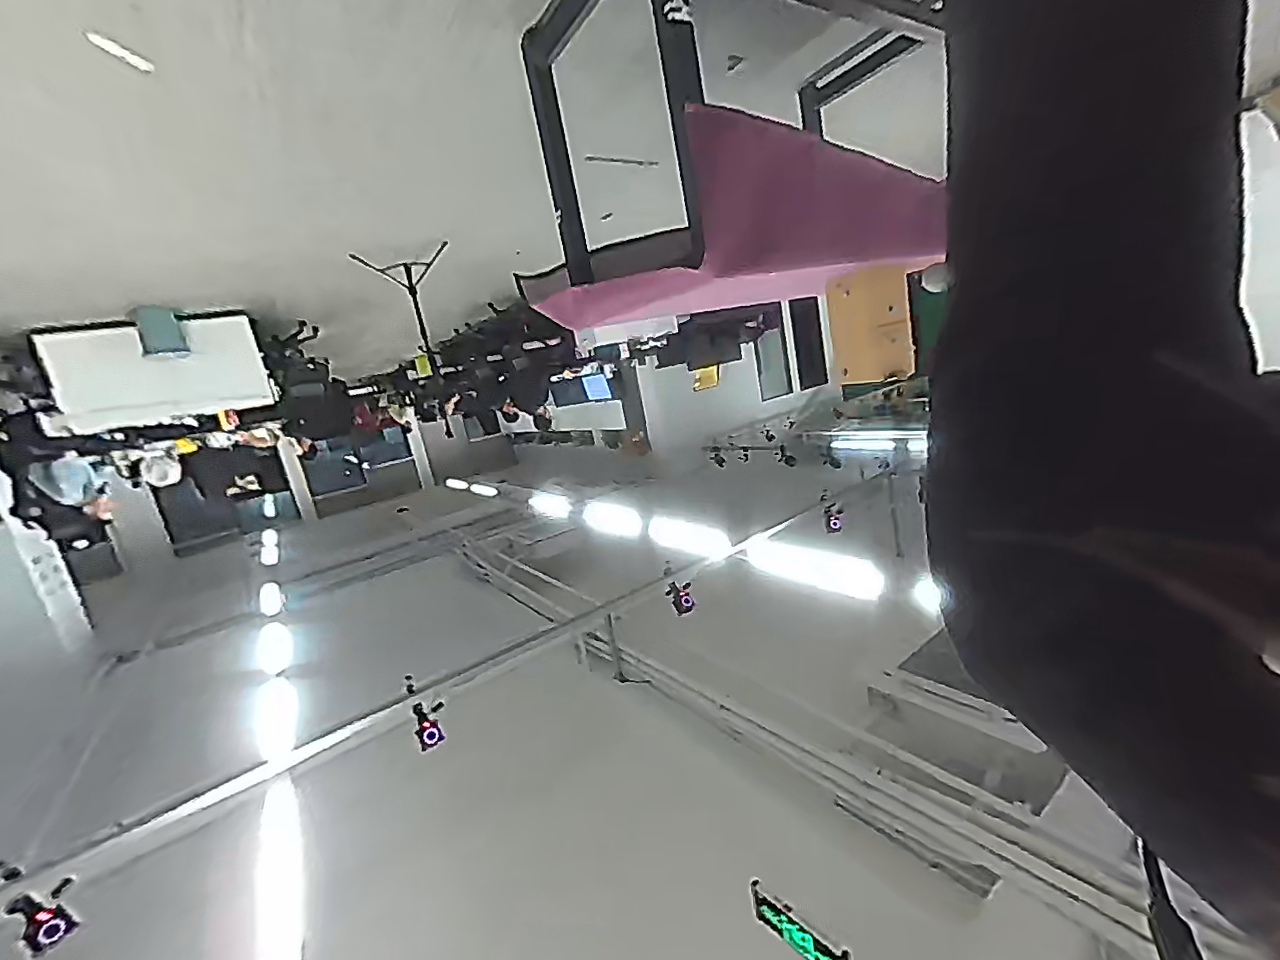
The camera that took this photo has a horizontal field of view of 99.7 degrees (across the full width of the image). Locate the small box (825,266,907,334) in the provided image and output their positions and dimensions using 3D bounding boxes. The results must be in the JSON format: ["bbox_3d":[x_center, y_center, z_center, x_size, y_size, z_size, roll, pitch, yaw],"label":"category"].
[{"bbox_3d":[0.709,-0.566,1.703,0.179,0.176,0.168,-15,-168,-23],"label":"small box"}]

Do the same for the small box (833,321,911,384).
[{"bbox_3d":[0.745,-0.411,1.745,0.168,0.176,0.179,-16,-167,-21],"label":"small box"}]
